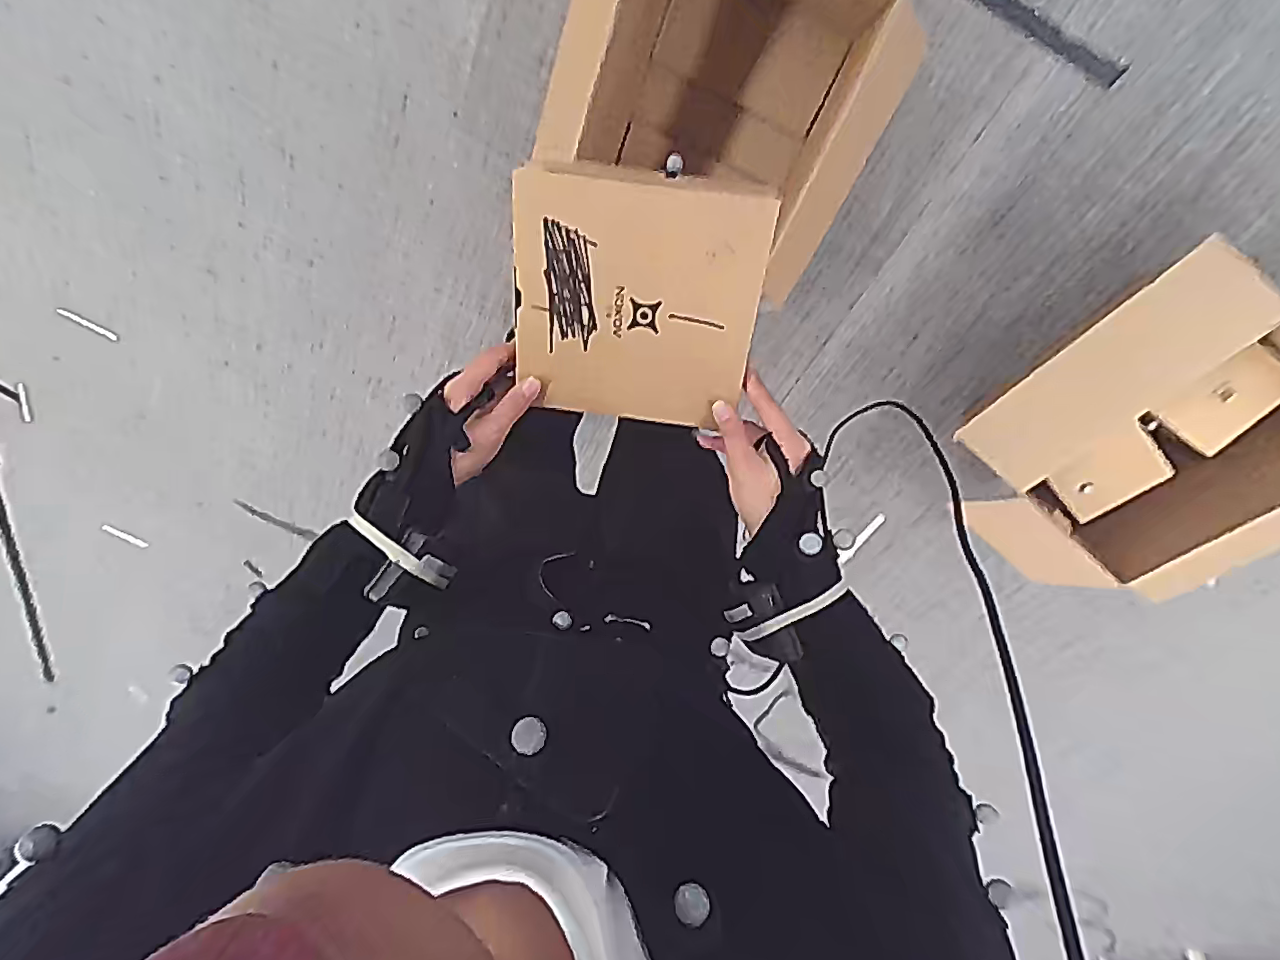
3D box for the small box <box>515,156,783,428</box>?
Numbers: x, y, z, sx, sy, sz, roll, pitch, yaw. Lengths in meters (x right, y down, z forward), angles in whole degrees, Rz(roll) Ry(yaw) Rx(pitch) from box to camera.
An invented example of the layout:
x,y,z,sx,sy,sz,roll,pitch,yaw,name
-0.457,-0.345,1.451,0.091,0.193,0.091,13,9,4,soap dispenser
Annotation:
x,y,z,sx,sy,sz,roll,pitch,yaw,name
0.010,-0.163,0.450,0.179,0.176,0.168,10,121,5,small box
